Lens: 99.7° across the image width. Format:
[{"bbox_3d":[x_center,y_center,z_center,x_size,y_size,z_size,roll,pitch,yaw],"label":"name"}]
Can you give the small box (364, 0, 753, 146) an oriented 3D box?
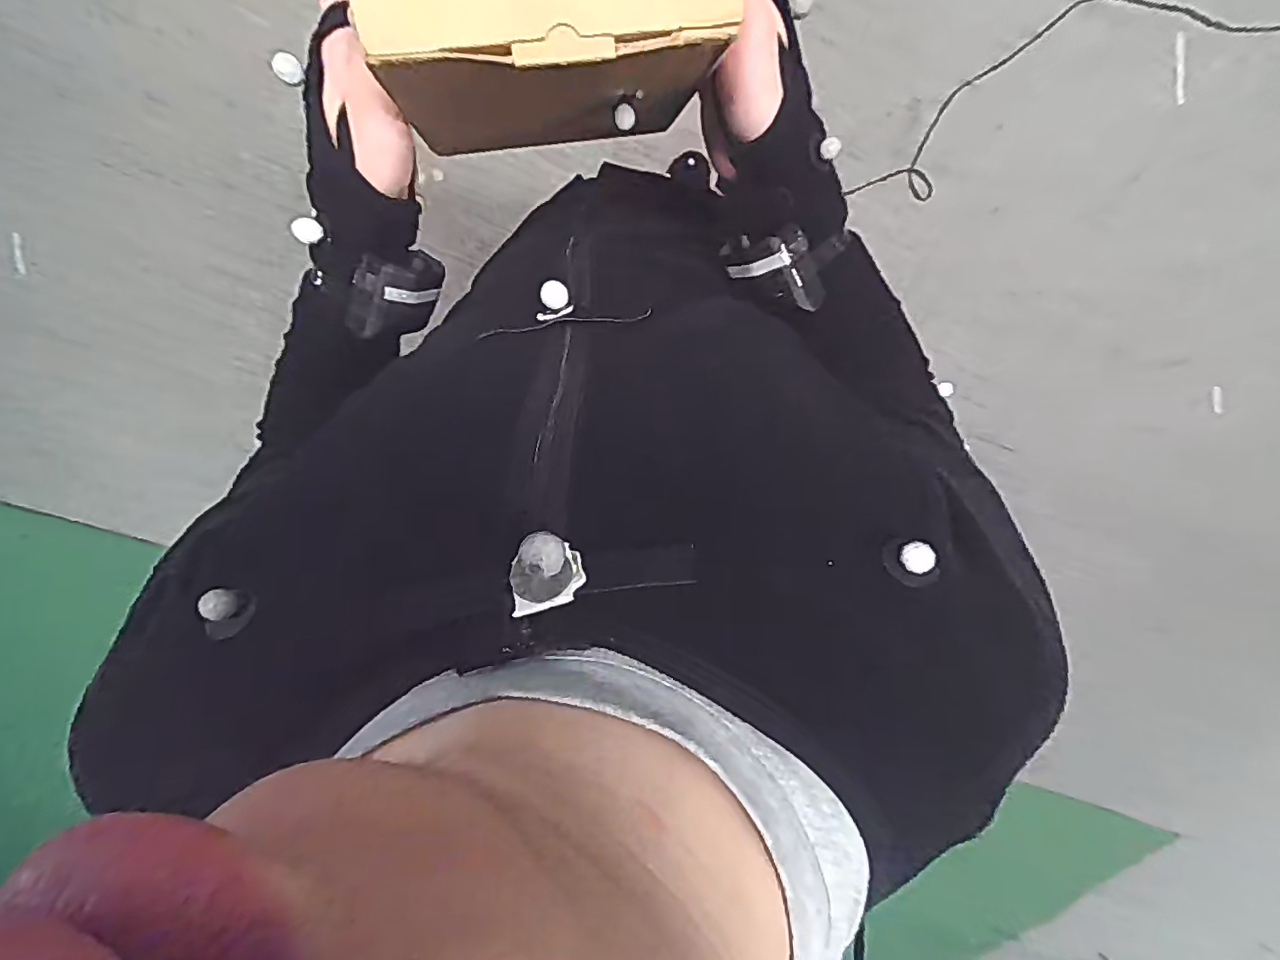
[{"bbox_3d":[-0.052,-0.291,0.278,0.168,0.176,0.179,-11,110,-7],"label":"small box"}]
